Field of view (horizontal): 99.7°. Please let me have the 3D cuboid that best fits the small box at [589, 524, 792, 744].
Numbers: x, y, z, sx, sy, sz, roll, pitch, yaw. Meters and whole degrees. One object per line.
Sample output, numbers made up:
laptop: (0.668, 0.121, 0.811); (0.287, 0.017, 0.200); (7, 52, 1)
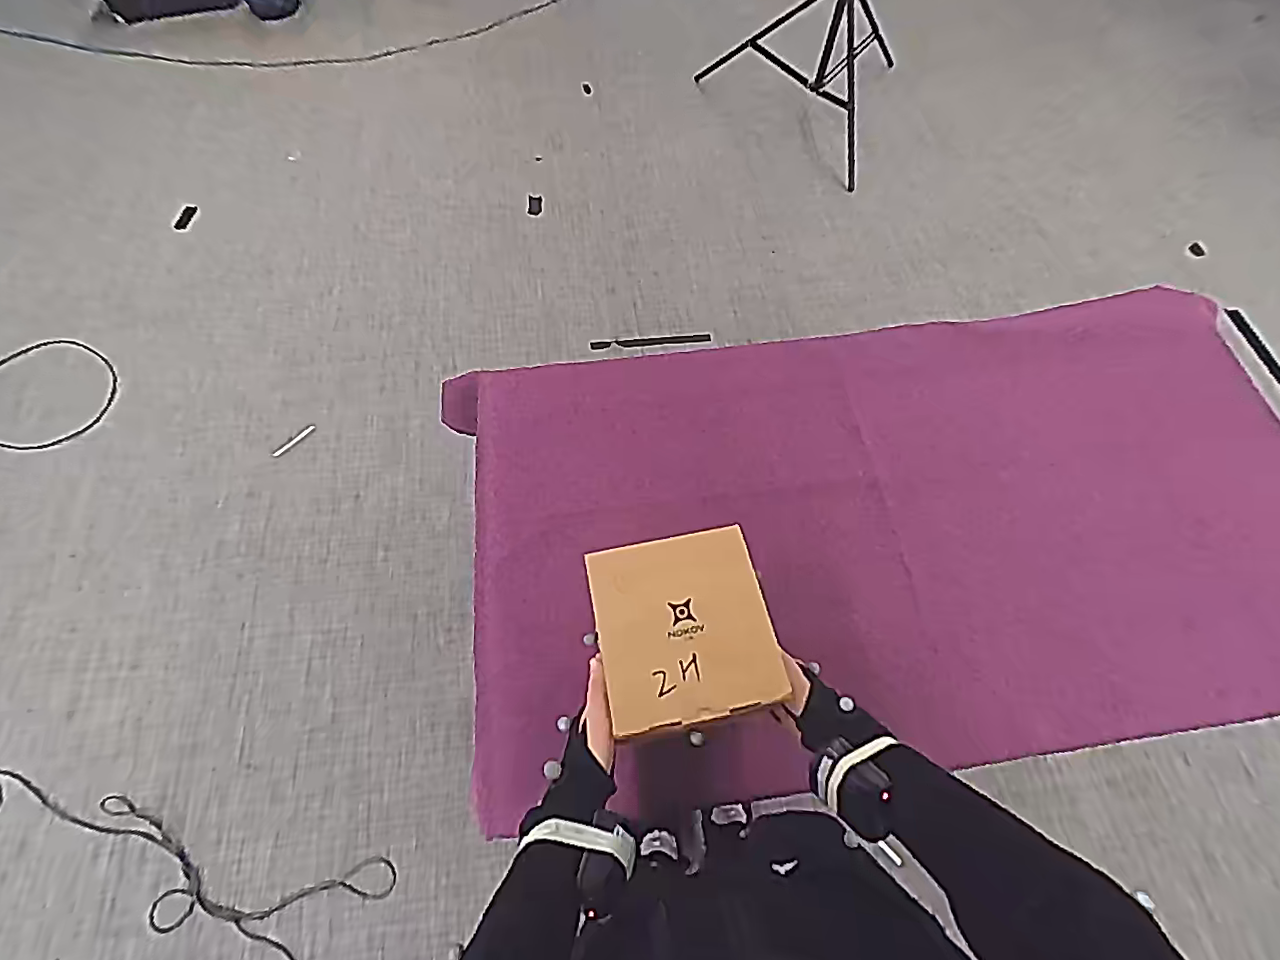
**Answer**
small box: (0.042, 0.171, 0.586); (0.168, 0.176, 0.179); (-10, 61, -5)
